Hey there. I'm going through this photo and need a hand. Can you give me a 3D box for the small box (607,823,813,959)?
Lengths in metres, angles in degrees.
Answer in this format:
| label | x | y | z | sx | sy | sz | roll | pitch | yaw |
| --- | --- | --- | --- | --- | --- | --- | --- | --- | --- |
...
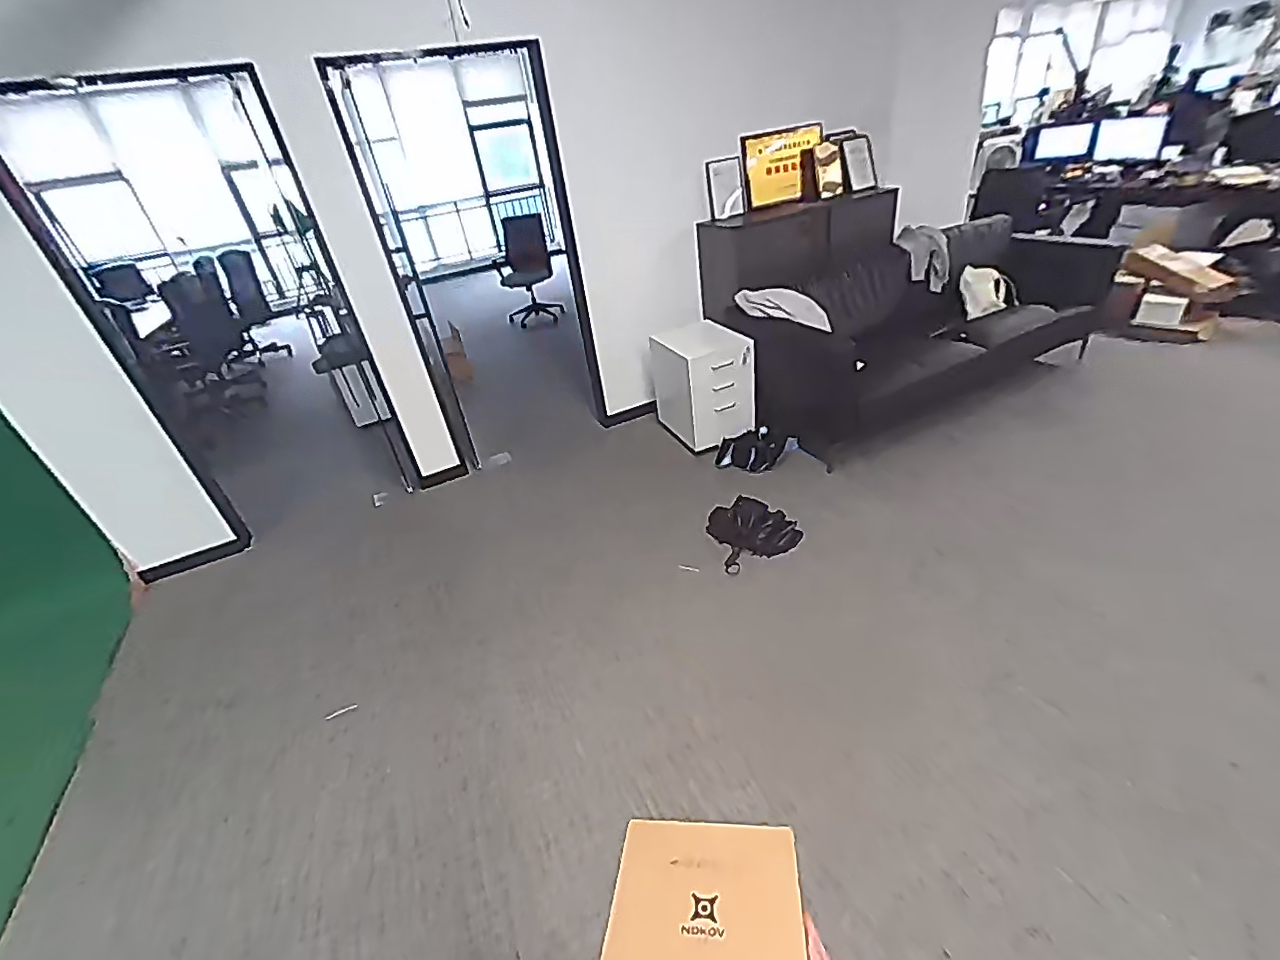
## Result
| label | x | y | z | sx | sy | sz | roll | pitch | yaw |
| --- | --- | --- | --- | --- | --- | --- | --- | --- | --- |
| small box | 0.070 | 0.449 | 0.479 | 0.168 | 0.176 | 0.179 | -3 | 15 | 11 |
